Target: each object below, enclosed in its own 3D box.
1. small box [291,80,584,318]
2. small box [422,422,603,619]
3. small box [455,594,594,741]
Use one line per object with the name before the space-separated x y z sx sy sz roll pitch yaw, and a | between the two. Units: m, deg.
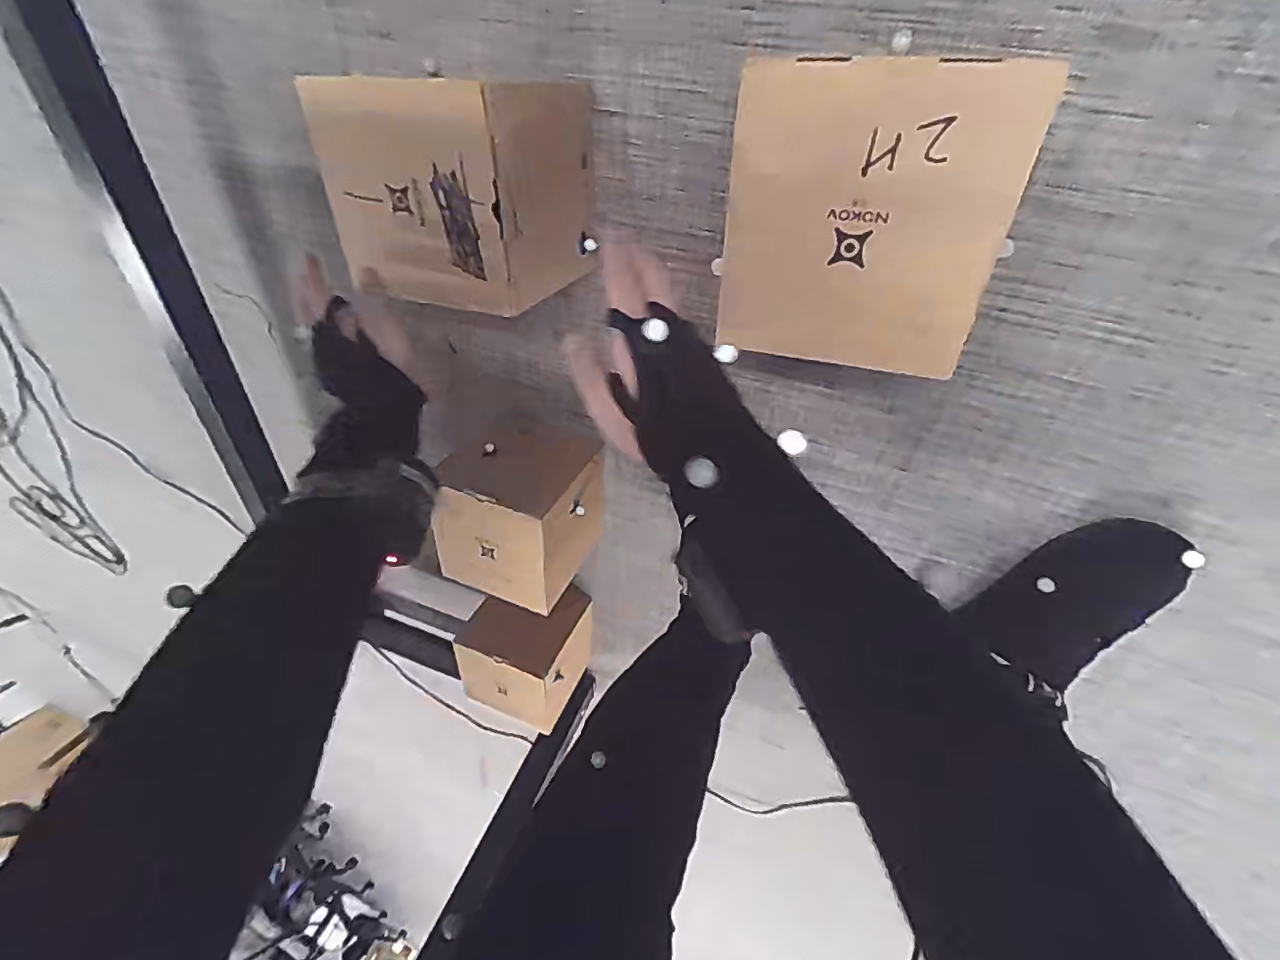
small box | -0.160 -0.265 0.498 0.179 0.176 0.168 13 128 18
small box | -0.157 0.046 0.725 0.168 0.176 0.179 17 130 15
small box | -0.186 0.300 0.925 0.168 0.176 0.179 15 128 16
